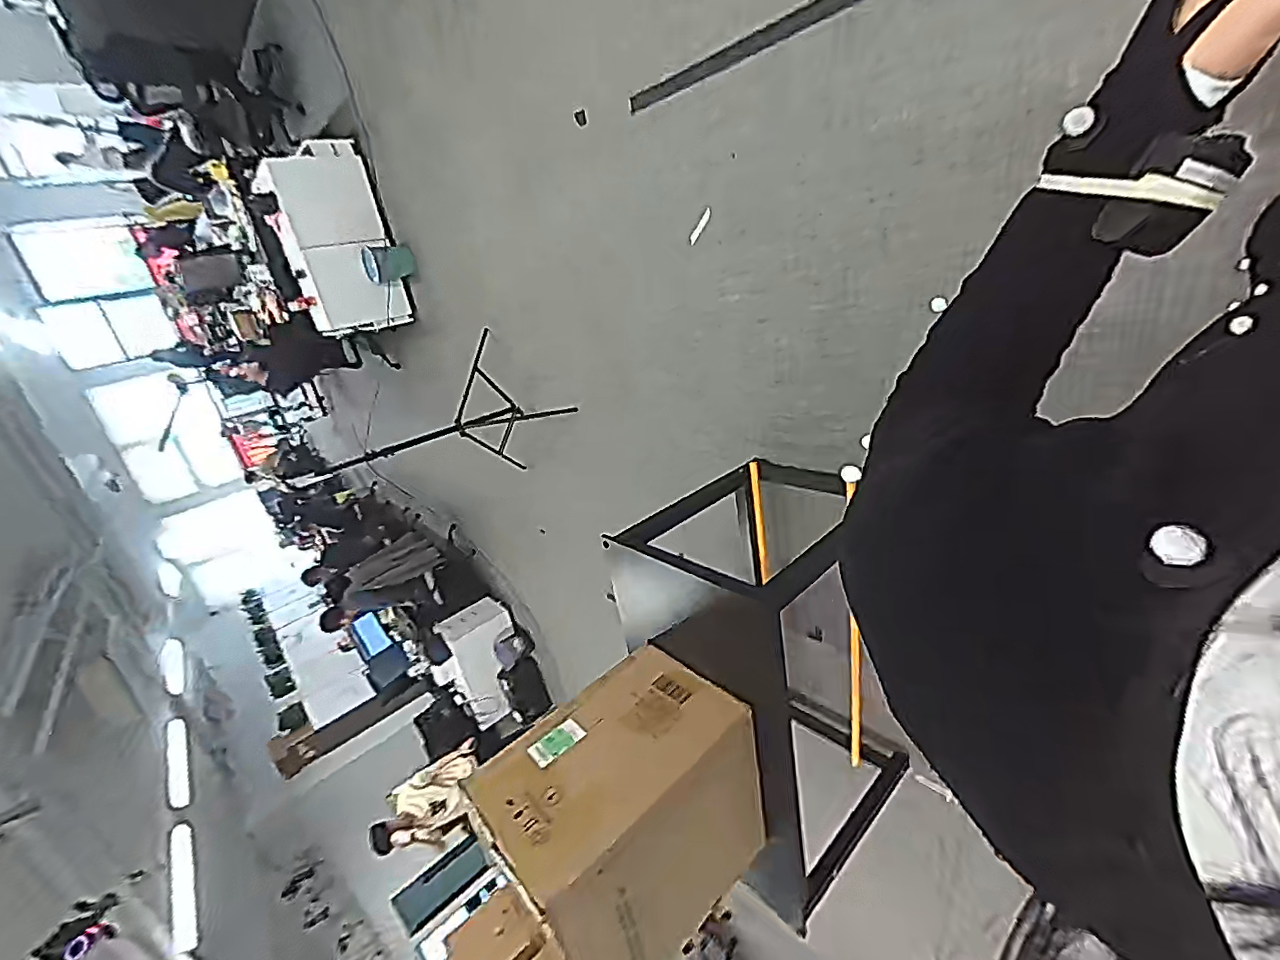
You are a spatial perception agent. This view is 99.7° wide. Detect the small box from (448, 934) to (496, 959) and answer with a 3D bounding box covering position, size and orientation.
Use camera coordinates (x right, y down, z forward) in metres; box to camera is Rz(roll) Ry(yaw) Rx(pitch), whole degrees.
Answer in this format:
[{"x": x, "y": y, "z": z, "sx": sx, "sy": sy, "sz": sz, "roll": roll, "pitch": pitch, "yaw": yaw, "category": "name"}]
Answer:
[{"x": -0.386, "y": 1.216, "z": 1.238, "sx": 0.168, "sy": 0.176, "sz": 0.179, "roll": 18, "pitch": 124, "yaw": 48, "category": "small box"}]
